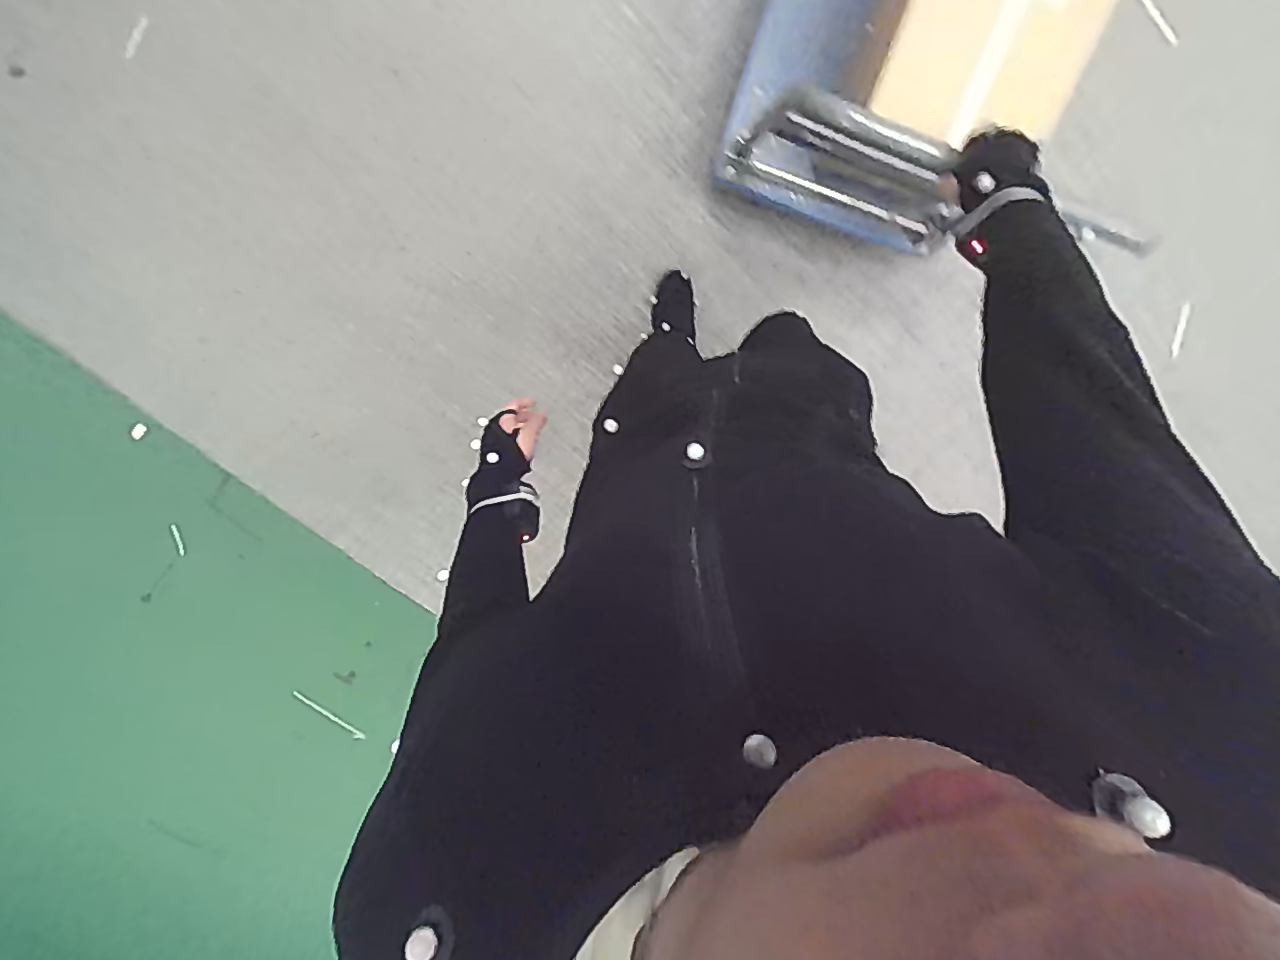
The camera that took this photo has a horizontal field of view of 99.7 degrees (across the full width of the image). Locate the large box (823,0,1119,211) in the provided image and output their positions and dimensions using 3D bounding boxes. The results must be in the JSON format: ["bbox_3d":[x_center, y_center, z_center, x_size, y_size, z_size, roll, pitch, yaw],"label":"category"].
[{"bbox_3d":[0.600,-0.782,1.021,0.320,0.320,0.408,17,109,-5],"label":"large box"}]
